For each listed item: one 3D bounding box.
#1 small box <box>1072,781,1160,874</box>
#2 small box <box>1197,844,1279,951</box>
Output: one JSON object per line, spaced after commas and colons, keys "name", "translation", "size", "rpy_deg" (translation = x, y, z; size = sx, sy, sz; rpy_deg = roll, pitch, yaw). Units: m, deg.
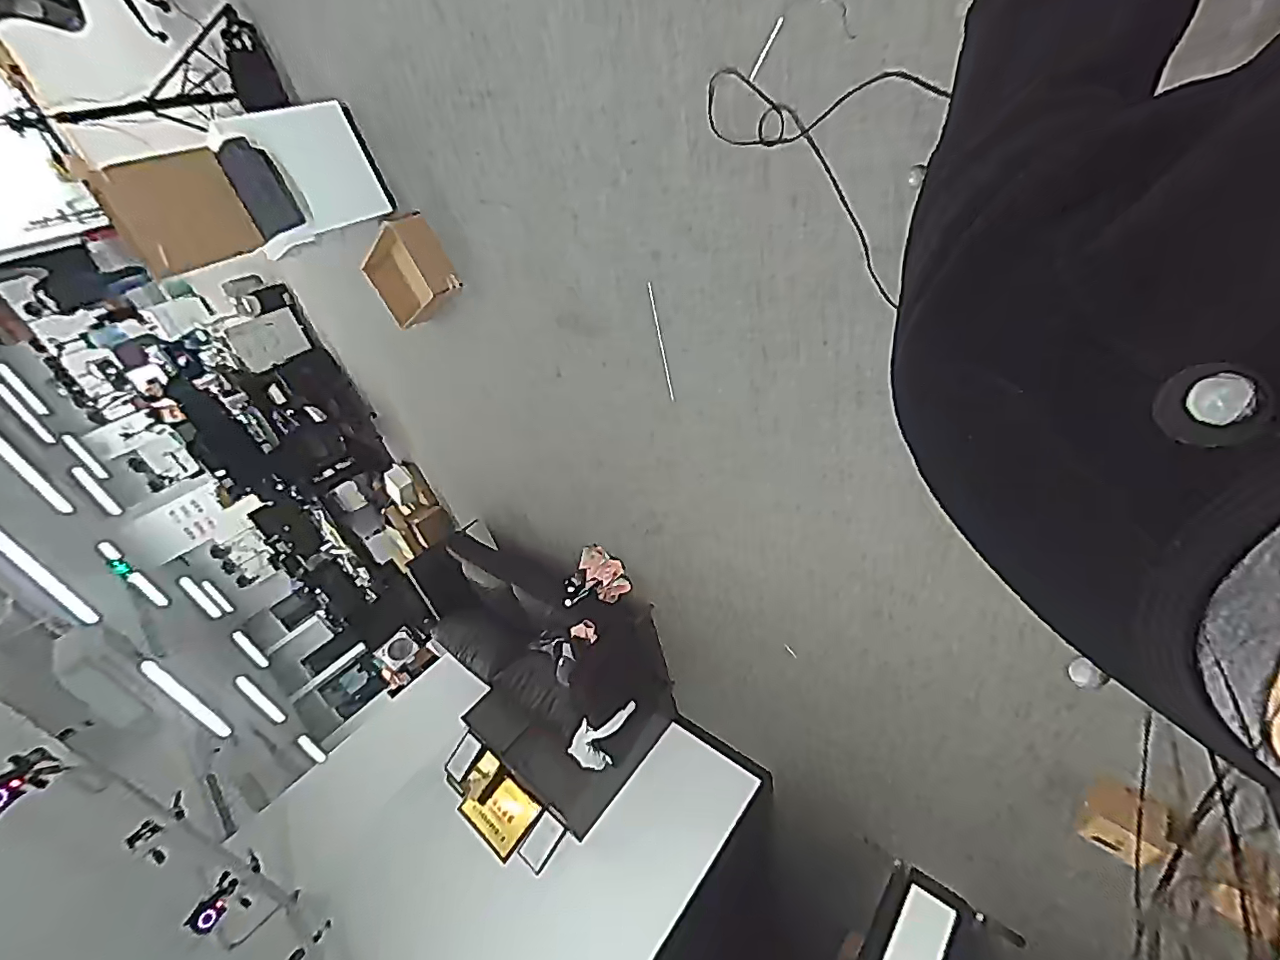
{"name": "small box", "translation": [1.599, 1.161, 1.813], "size": [0.168, 0.176, 0.179], "rpy_deg": [25, 138, 32]}
{"name": "small box", "translation": [1.826, 1.239, 1.624], "size": [0.179, 0.176, 0.168], "rpy_deg": [17, 134, 39]}
